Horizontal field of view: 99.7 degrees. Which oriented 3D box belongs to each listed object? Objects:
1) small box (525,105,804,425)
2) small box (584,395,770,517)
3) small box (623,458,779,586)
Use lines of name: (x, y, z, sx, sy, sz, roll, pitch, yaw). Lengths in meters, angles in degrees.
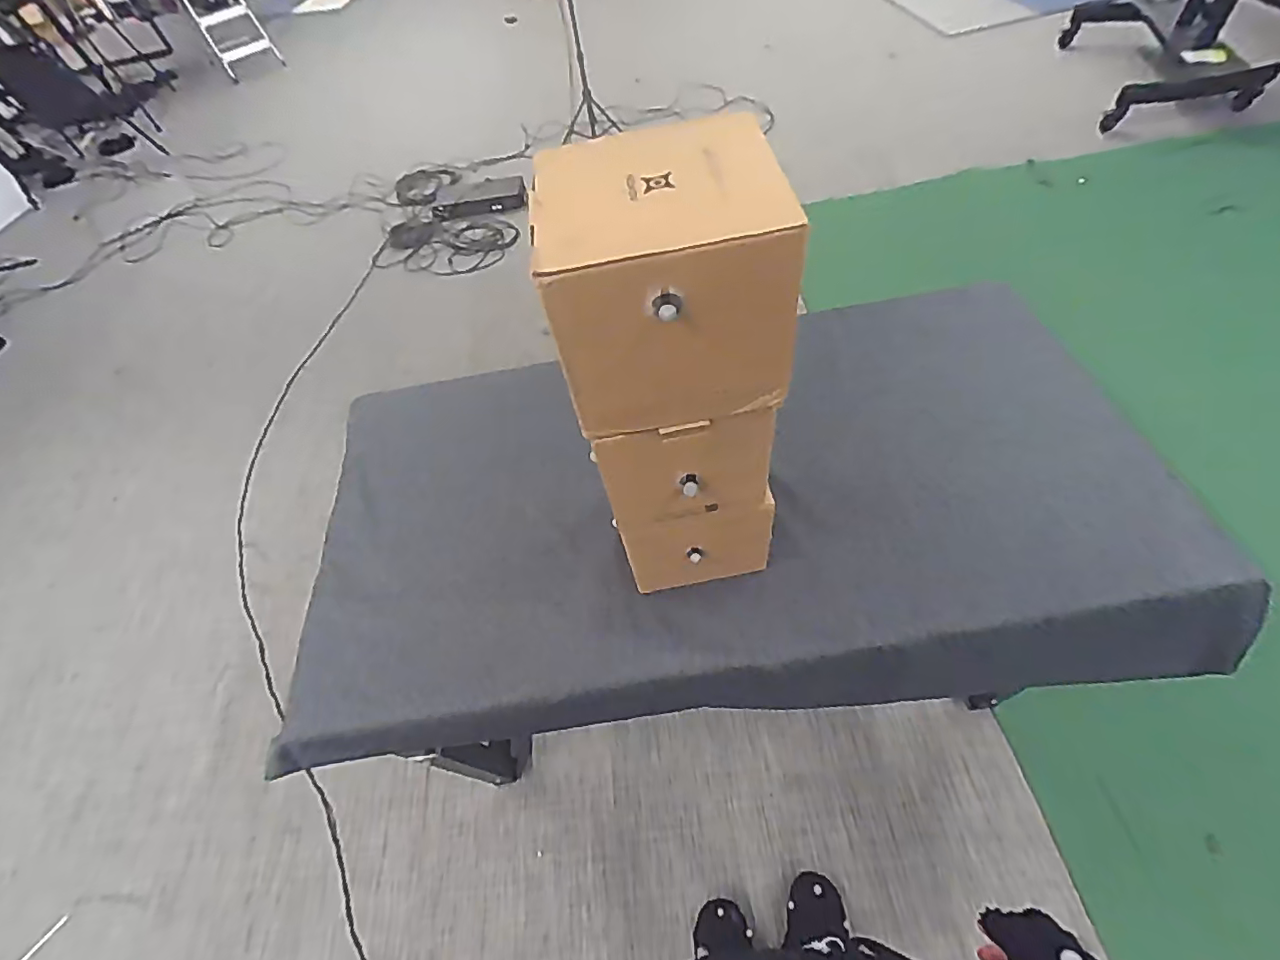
small box: (0.017, -0.162, 0.438, 0.179, 0.176, 0.168, -9, 56, 2)
small box: (0.033, -0.075, 0.575, 0.168, 0.176, 0.179, -11, 55, 1)
small box: (0.063, 0.019, 0.705, 0.179, 0.176, 0.168, -13, 55, -2)
